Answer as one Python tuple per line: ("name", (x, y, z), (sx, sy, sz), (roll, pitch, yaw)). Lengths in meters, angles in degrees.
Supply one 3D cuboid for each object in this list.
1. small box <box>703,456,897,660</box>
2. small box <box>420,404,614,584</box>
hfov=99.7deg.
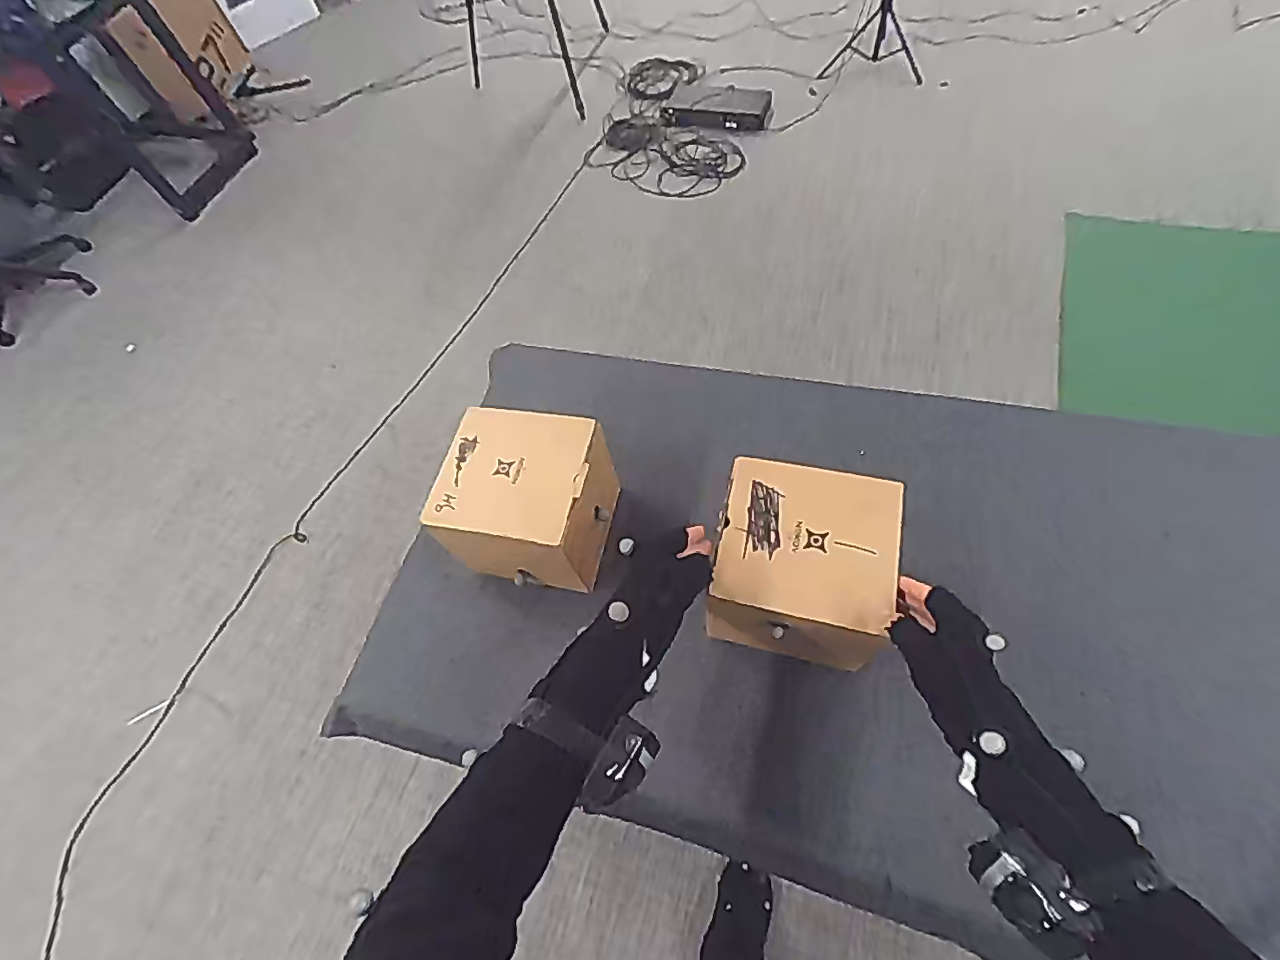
("small box", (0.175, 0.095, 0.620), (0.179, 0.176, 0.168), (11, 64, 13))
("small box", (-0.141, 0.025, 0.702), (0.179, 0.176, 0.168), (8, 63, 11))
